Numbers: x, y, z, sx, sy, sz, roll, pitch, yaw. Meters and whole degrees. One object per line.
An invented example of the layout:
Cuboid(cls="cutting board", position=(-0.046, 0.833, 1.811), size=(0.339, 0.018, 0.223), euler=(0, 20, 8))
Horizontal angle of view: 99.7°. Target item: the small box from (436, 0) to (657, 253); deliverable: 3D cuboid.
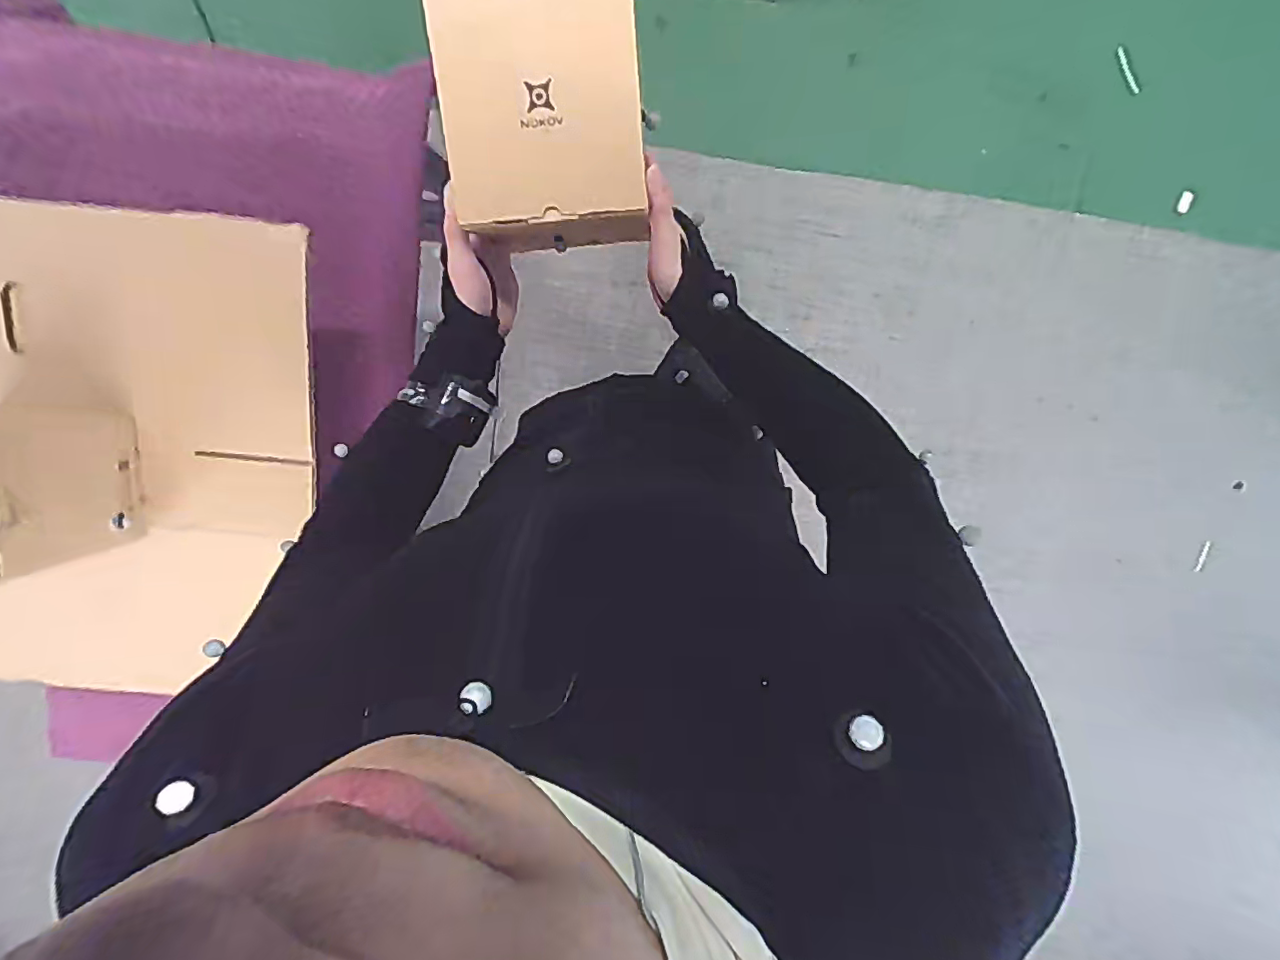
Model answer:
Cuboid(cls="small box", position=(-0.072, -0.323, 0.513), size=(0.168, 0.176, 0.179), euler=(-4, 107, 2))
